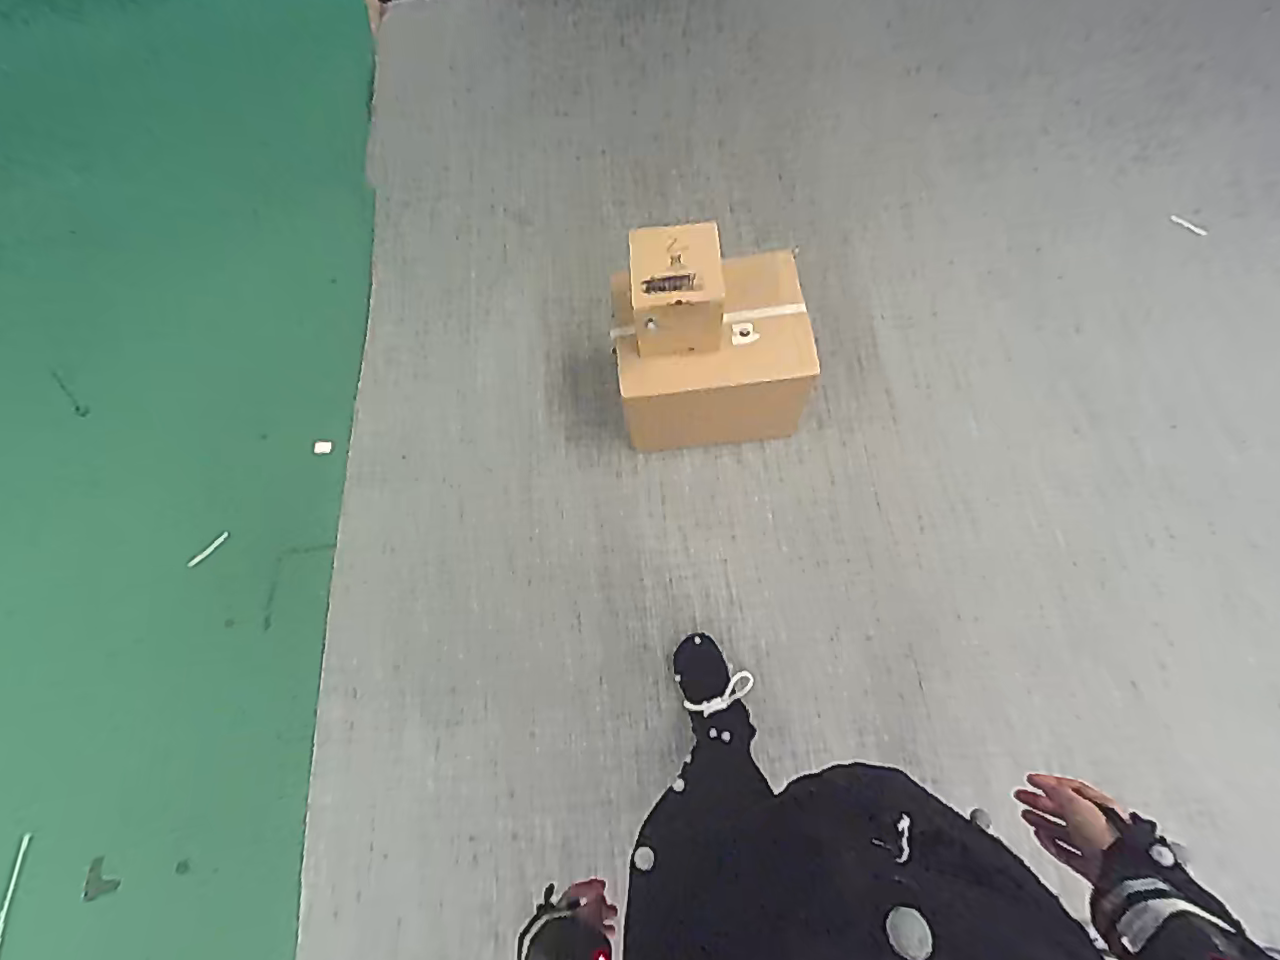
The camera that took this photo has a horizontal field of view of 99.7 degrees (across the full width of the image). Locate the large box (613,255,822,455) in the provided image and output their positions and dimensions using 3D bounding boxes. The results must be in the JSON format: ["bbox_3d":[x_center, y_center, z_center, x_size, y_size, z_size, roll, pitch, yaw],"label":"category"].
[{"bbox_3d":[0.162,-0.274,1.270,0.408,0.320,0.320,-6,71,2],"label":"large box"}]
